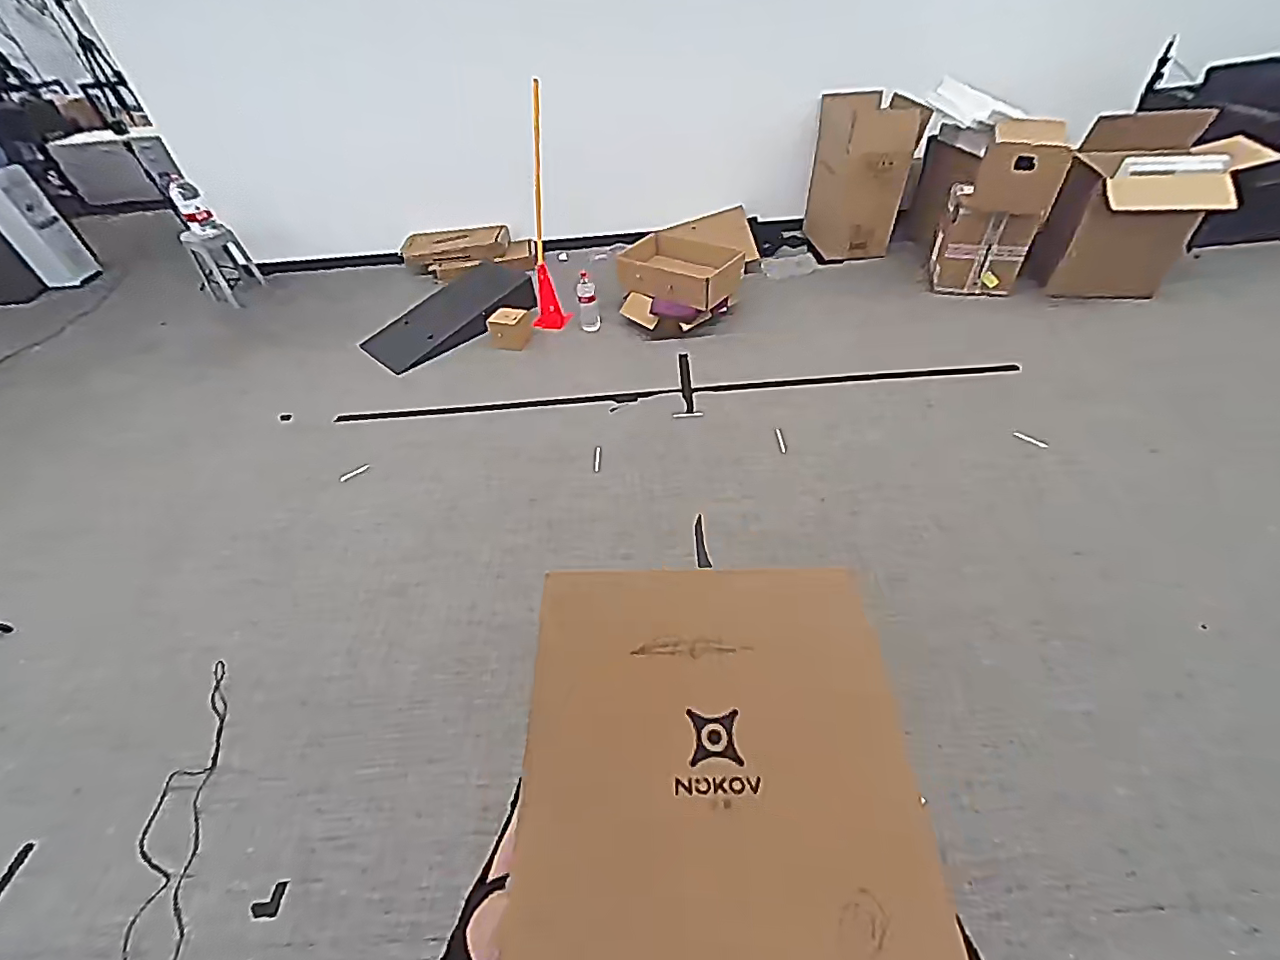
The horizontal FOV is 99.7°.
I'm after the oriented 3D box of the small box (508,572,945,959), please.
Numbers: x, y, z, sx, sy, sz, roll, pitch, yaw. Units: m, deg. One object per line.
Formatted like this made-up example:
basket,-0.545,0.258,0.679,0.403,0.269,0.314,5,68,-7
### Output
small box,0.030,0.172,0.308,0.168,0.176,0.179,-2,50,-2
